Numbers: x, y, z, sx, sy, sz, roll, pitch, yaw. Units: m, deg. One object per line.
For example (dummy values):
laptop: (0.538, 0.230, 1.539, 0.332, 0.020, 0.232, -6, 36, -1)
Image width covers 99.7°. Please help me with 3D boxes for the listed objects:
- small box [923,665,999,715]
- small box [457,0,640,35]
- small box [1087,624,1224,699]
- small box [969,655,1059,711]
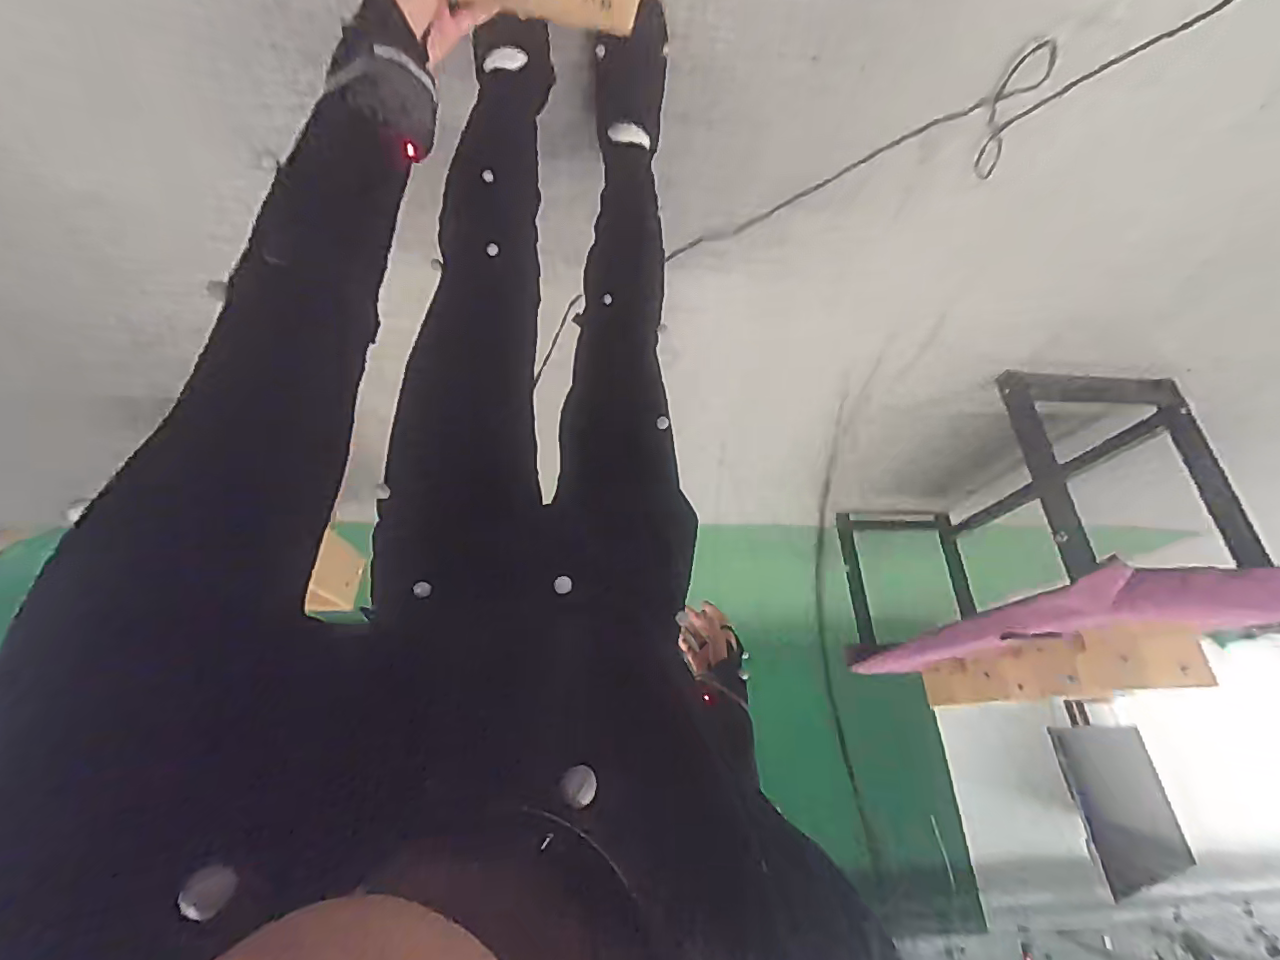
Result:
small box: (1.252, 0.823, 2.117, 0.179, 0.176, 0.168, 4, 152, -11)
small box: (-0.067, -0.491, 0.400, 0.168, 0.176, 0.179, 10, 158, -2)
small box: (1.359, 0.486, 1.443, 0.179, 0.176, 0.168, 0, 153, -4)
small box: (1.294, 0.709, 1.886, 0.179, 0.176, 0.168, 3, 154, -10)
